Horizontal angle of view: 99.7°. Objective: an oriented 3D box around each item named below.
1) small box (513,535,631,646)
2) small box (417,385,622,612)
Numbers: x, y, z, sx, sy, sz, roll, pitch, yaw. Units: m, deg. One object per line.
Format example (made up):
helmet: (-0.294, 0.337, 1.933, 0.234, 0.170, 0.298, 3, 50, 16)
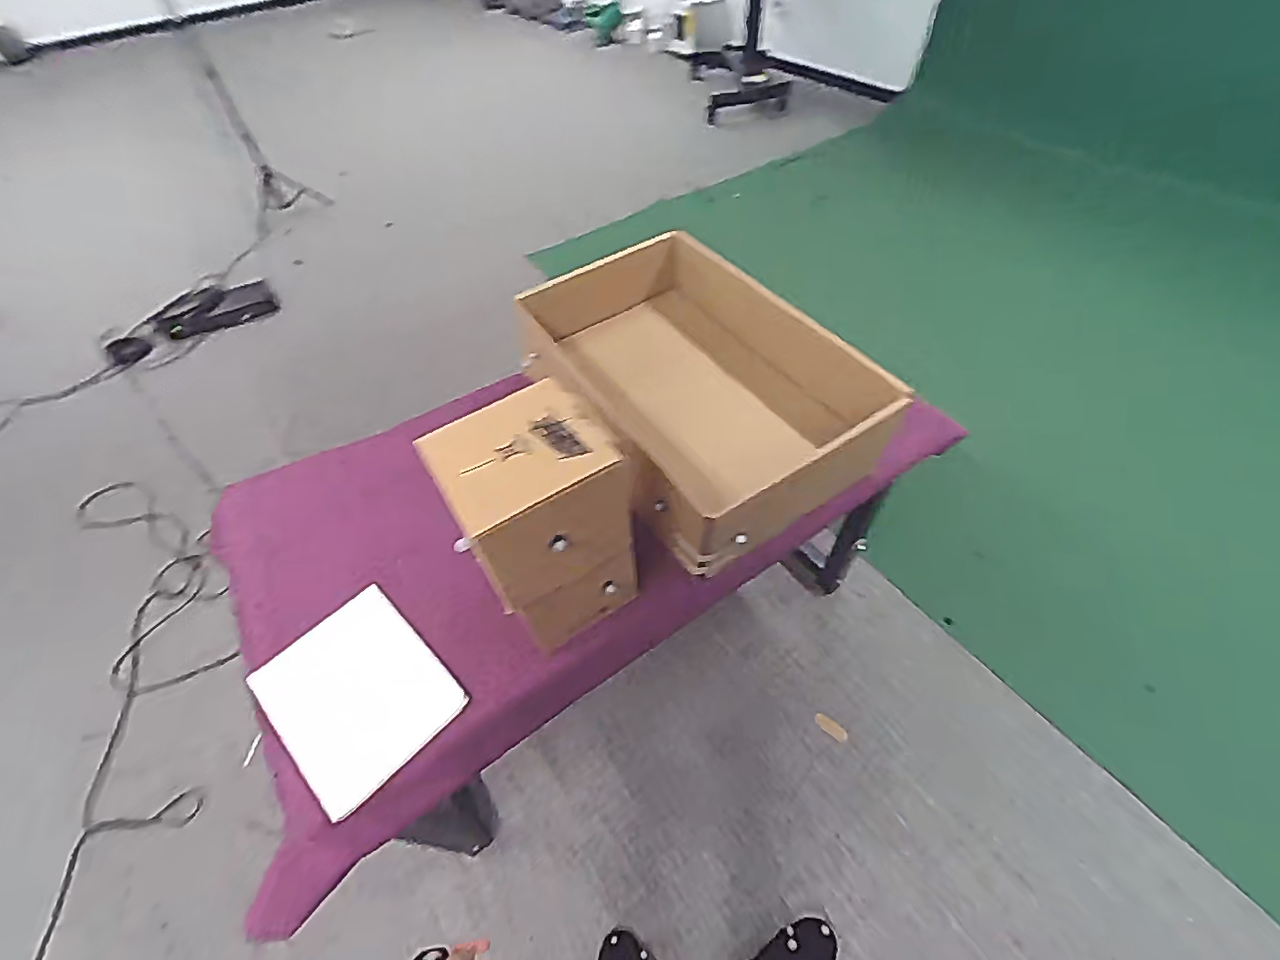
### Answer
small box: (-0.125, 0.116, 0.787, 0.168, 0.176, 0.179, -29, 54, -19)
small box: (-0.133, 0.023, 0.652, 0.179, 0.176, 0.168, -29, 54, -19)
